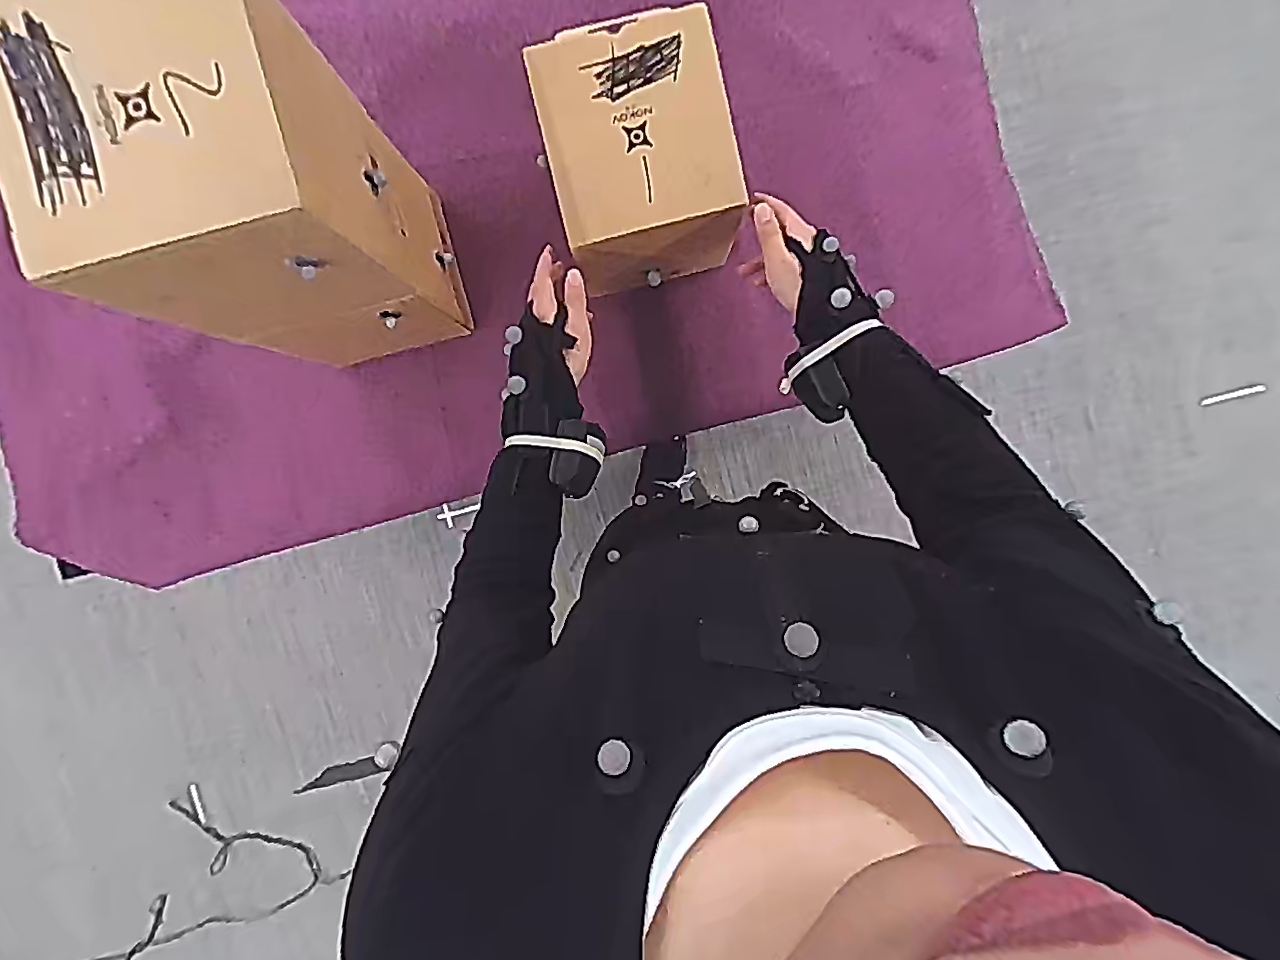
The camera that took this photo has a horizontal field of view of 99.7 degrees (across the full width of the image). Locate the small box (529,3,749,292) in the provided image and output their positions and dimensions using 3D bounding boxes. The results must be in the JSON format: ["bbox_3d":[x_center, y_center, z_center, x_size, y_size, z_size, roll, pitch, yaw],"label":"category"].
[{"bbox_3d":[-0.001,-0.317,0.553,0.168,0.176,0.179,-13,93,2],"label":"small box"}]

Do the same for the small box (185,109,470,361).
[{"bbox_3d":[-0.304,-0.233,0.564,0.179,0.176,0.168,-15,93,1],"label":"small box"}]
